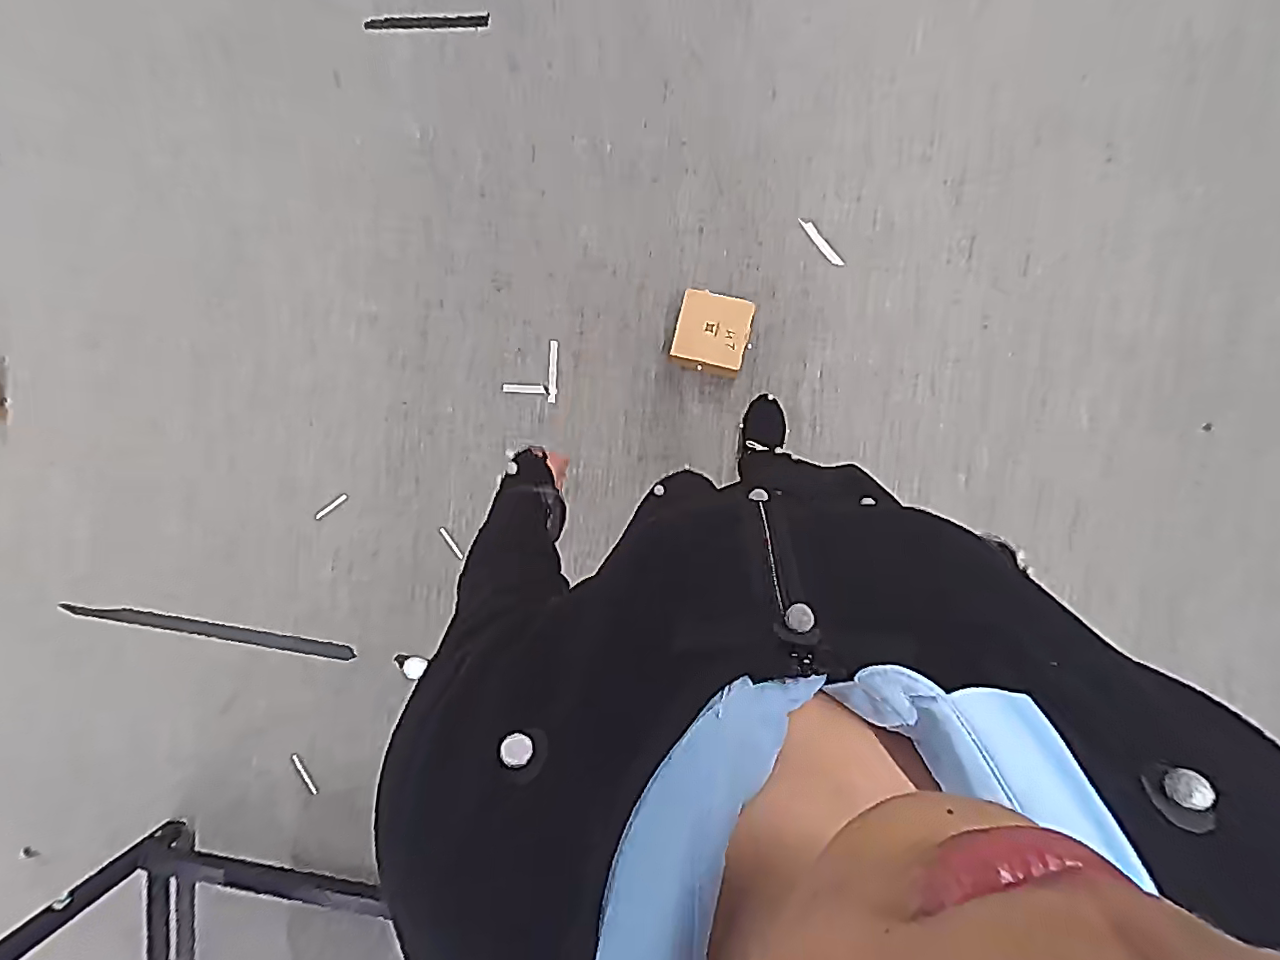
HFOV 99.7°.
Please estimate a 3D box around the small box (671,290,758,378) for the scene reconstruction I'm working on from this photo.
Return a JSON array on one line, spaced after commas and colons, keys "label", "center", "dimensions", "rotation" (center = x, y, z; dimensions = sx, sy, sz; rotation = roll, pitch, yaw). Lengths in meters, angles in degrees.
[{"label": "small box", "center": [0.189, -0.363, 1.376], "dimensions": [0.179, 0.176, 0.168], "rotation": [15, 96, 6]}]
